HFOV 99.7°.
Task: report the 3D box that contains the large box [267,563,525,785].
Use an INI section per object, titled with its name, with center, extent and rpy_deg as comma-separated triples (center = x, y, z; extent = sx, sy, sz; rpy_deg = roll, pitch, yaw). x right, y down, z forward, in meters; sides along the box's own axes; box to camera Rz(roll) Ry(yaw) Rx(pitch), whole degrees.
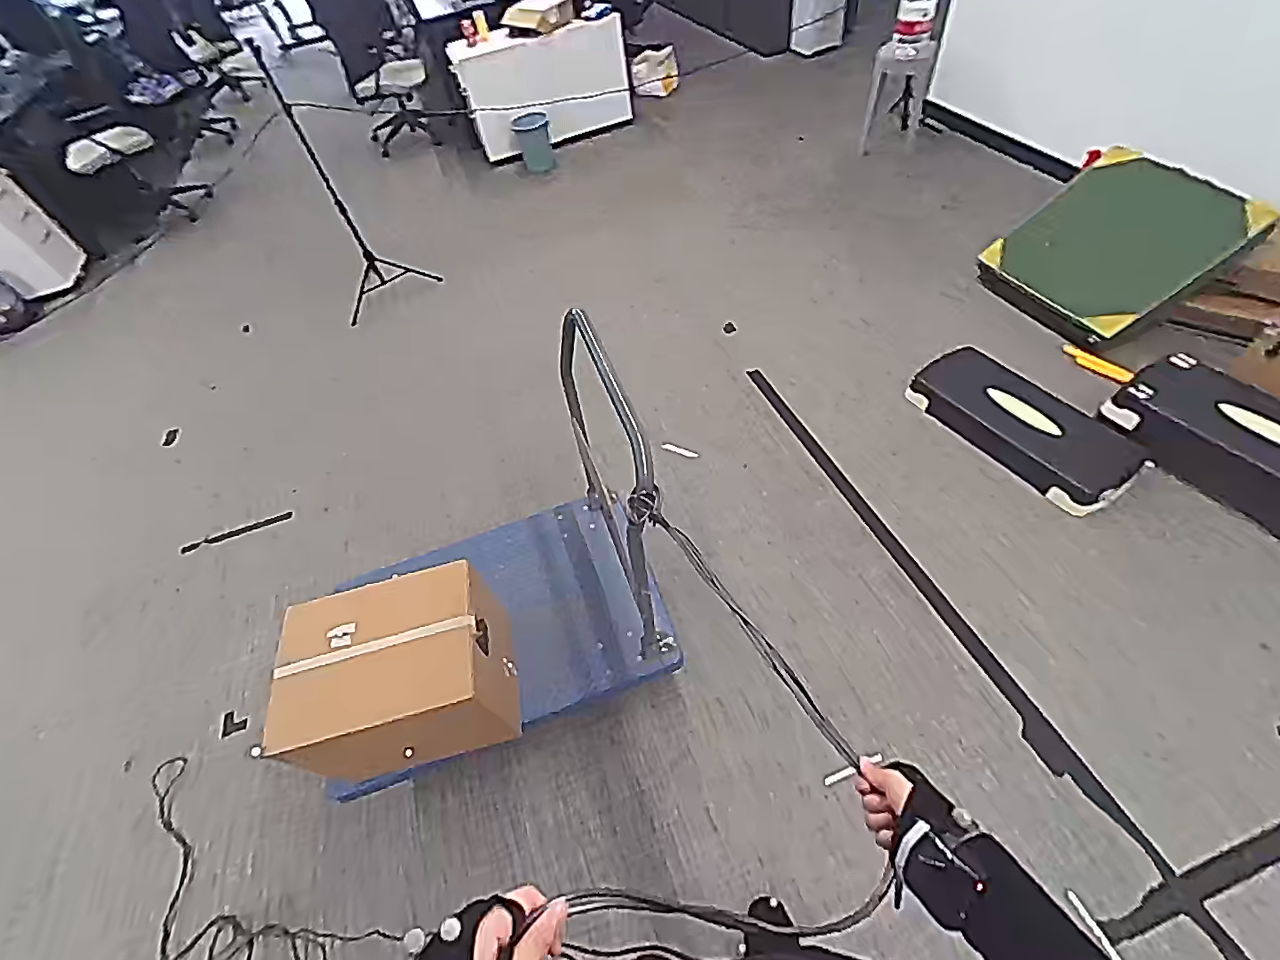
[large box]
center = -0.510, 0.438, 1.205
extent = 0.408, 0.320, 0.320
rpy_deg = -16, 51, -2
